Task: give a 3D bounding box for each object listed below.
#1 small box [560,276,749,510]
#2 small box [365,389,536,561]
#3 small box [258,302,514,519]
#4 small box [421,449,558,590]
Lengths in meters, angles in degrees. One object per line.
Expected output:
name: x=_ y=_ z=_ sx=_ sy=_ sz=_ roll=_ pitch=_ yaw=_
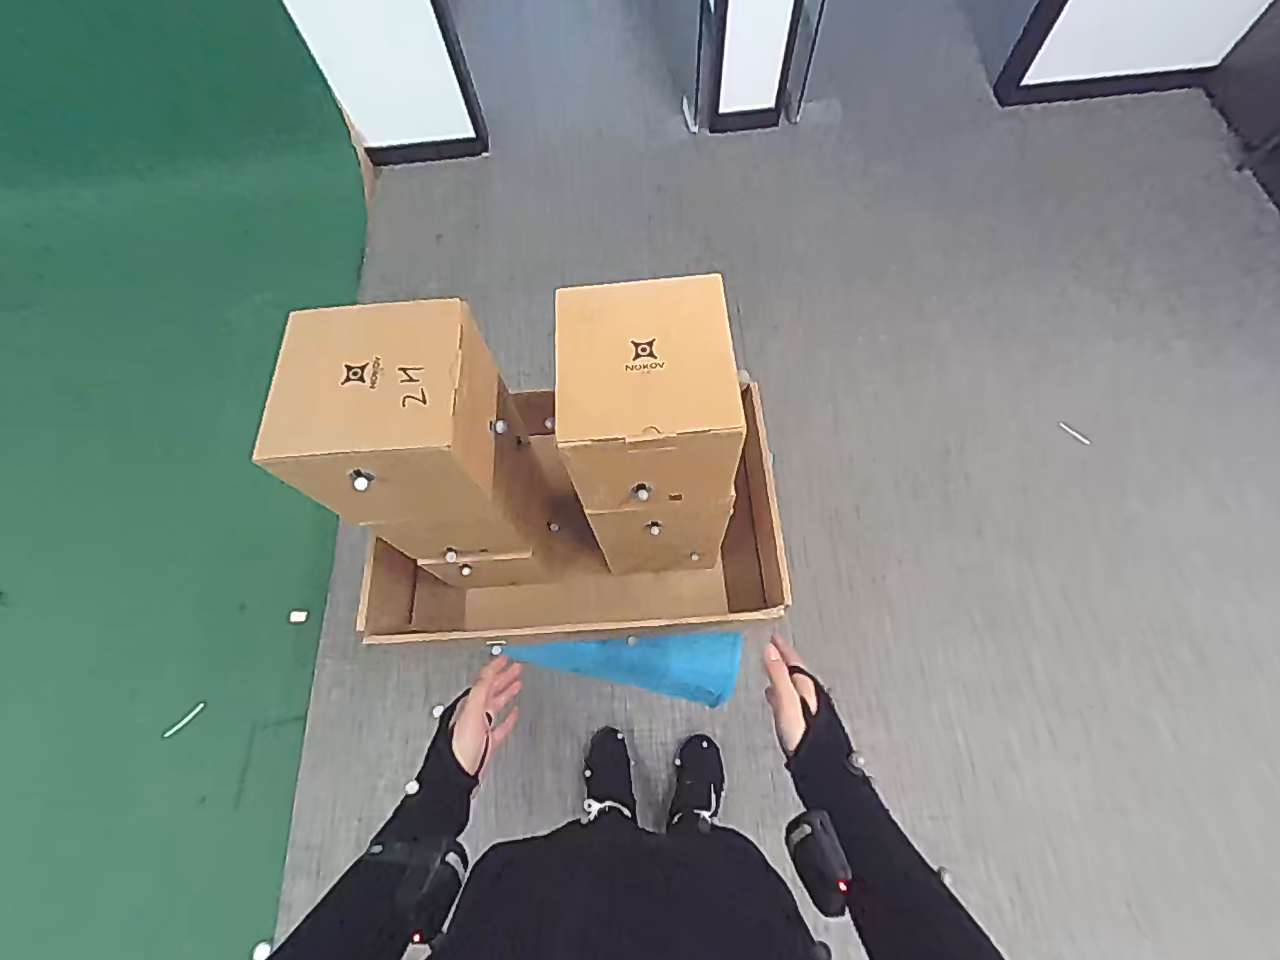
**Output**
small box: x=0.011 y=-0.083 z=0.567 sx=0.168 sy=0.176 sz=0.179 roll=-5 pitch=67 yaw=2
small box: x=-0.239 y=-0.002 z=0.725 sx=0.168 sy=0.176 sz=0.179 roll=-4 pitch=66 yaw=1
small box: x=-0.246 y=-0.063 z=0.572 sx=0.179 sy=0.176 sz=0.168 roll=-3 pitch=66 yaw=1
small box: x=-0.230 y=0.068 z=0.871 sx=0.168 sy=0.176 sz=0.179 roll=-4 pitch=66 yaw=1
